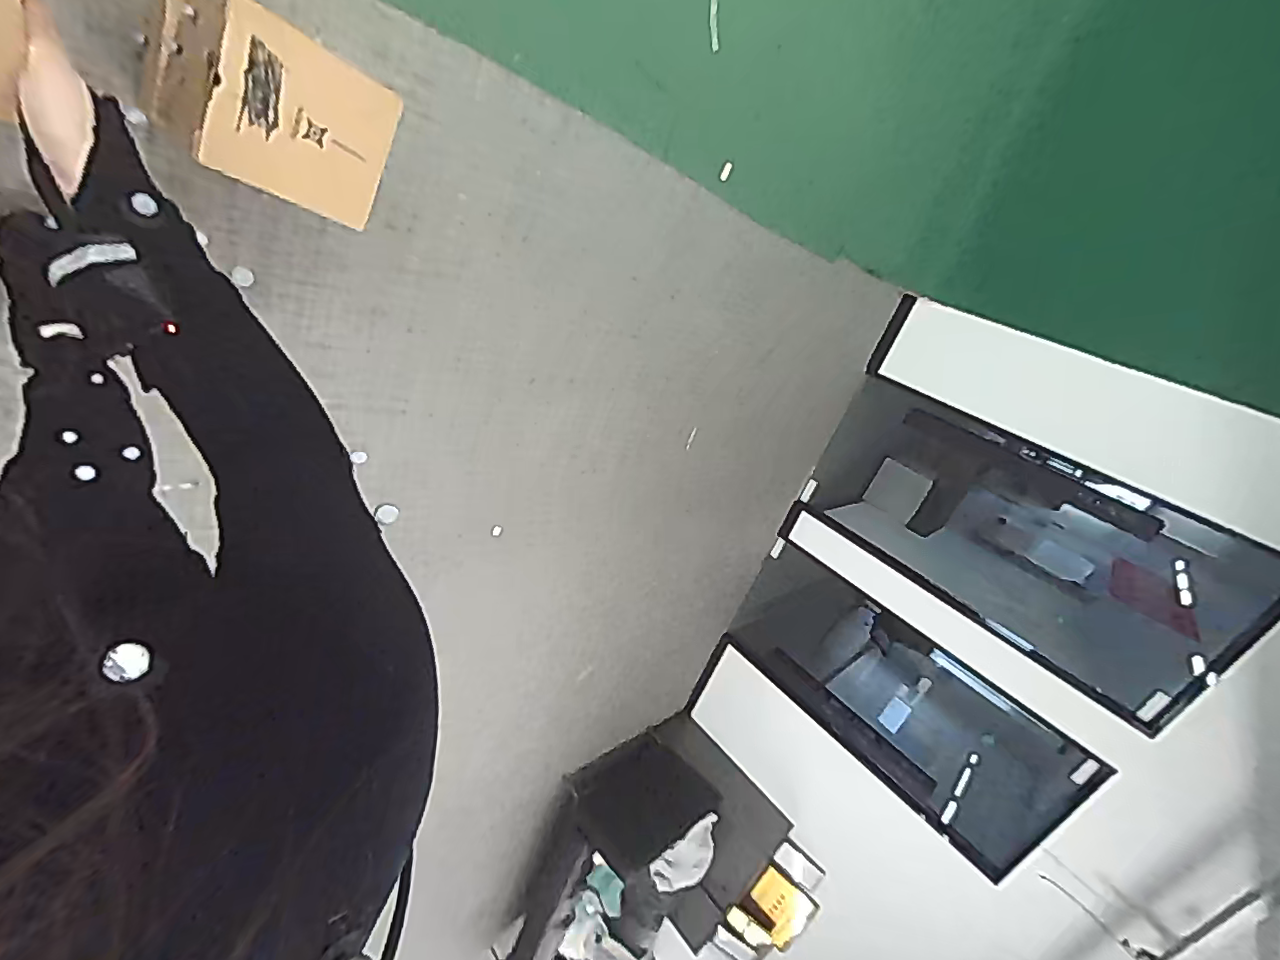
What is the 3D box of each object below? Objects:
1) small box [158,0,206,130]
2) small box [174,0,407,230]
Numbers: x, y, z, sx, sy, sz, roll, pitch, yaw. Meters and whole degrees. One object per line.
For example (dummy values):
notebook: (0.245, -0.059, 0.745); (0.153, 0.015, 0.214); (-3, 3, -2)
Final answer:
small box: (-0.520, -0.515, 0.736); (0.179, 0.176, 0.168); (11, 114, -53)
small box: (-0.418, -0.430, 0.640); (0.179, 0.176, 0.168); (7, 116, -52)
